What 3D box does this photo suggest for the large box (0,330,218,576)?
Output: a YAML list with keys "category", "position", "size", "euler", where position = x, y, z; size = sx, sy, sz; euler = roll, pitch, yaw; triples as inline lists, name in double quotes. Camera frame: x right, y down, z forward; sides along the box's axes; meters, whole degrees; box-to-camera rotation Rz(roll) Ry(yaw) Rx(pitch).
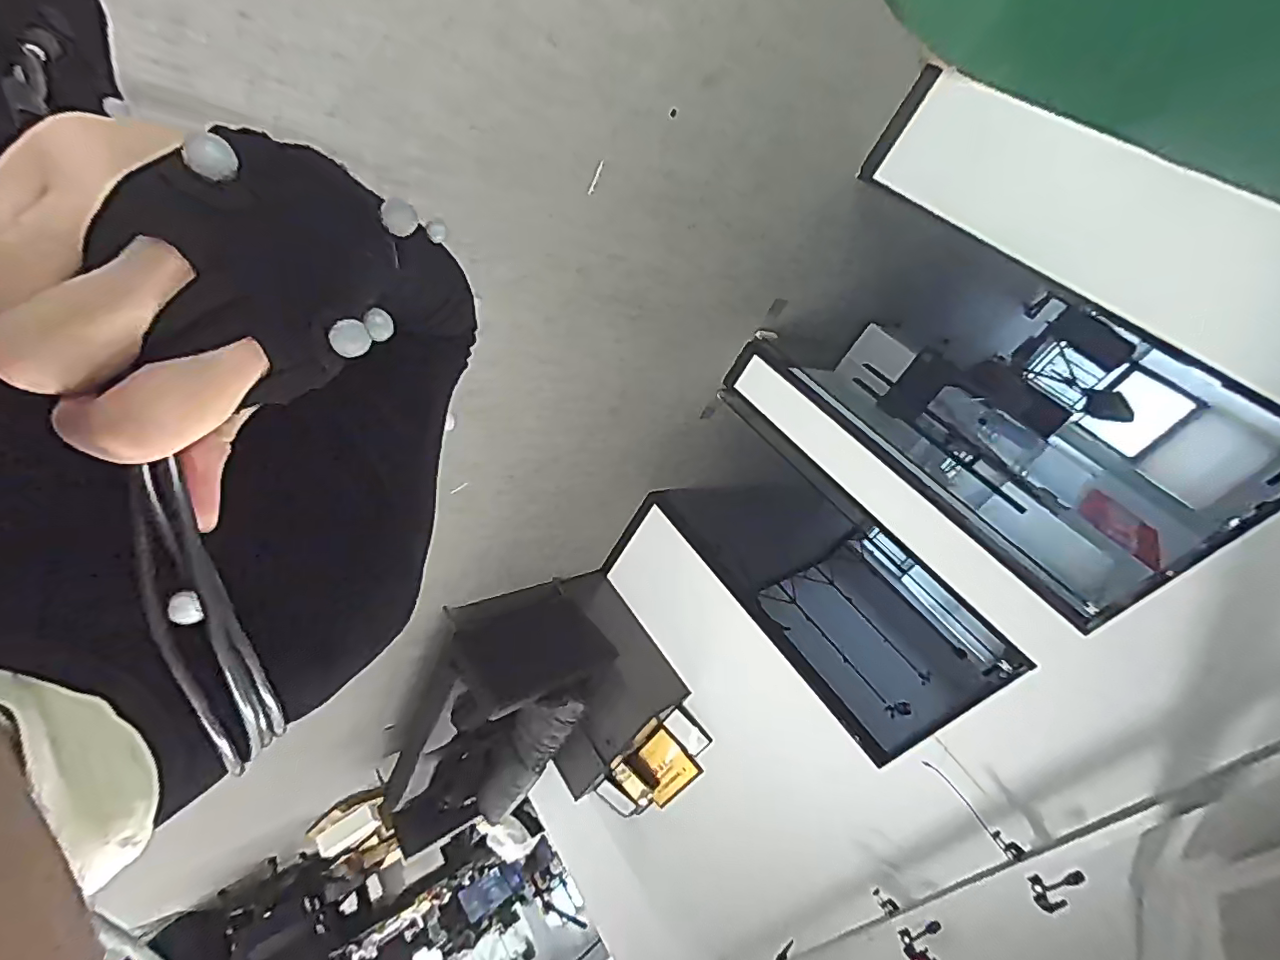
- category: "large box"
  position: [-1.160, -0.063, 1.171]
  size: [0.320, 0.320, 0.408]
  euler: [-6, 138, -49]
